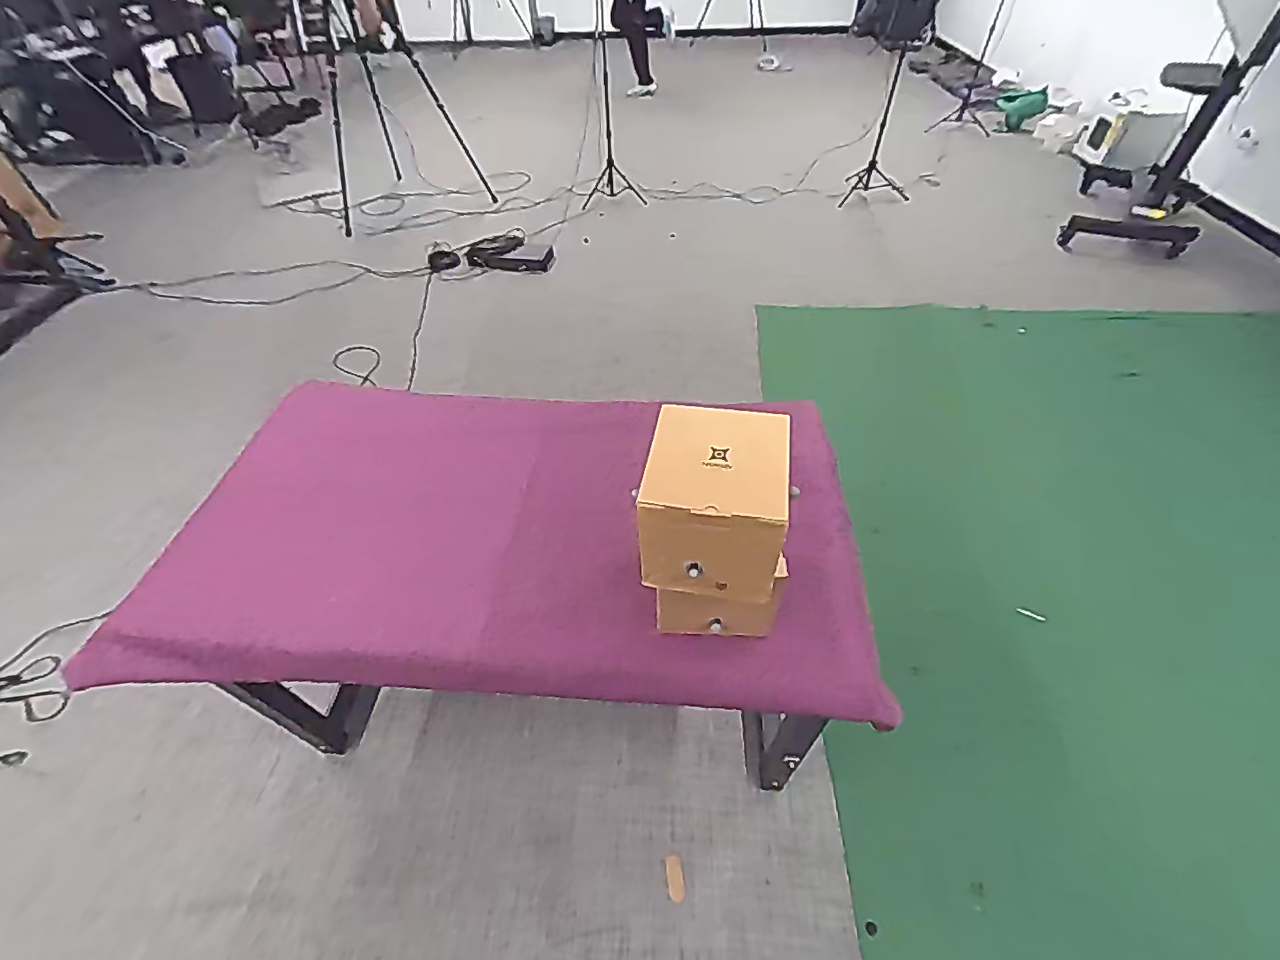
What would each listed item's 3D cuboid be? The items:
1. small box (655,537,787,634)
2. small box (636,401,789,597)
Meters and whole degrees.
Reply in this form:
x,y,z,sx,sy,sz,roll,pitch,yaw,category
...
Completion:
x,y,z,sx,sy,sz,roll,pitch,yaw,category
0.114,0.121,0.826,0.179,0.176,0.168,1,46,3,small box
0.093,0.023,0.695,0.168,0.176,0.179,6,48,9,small box
